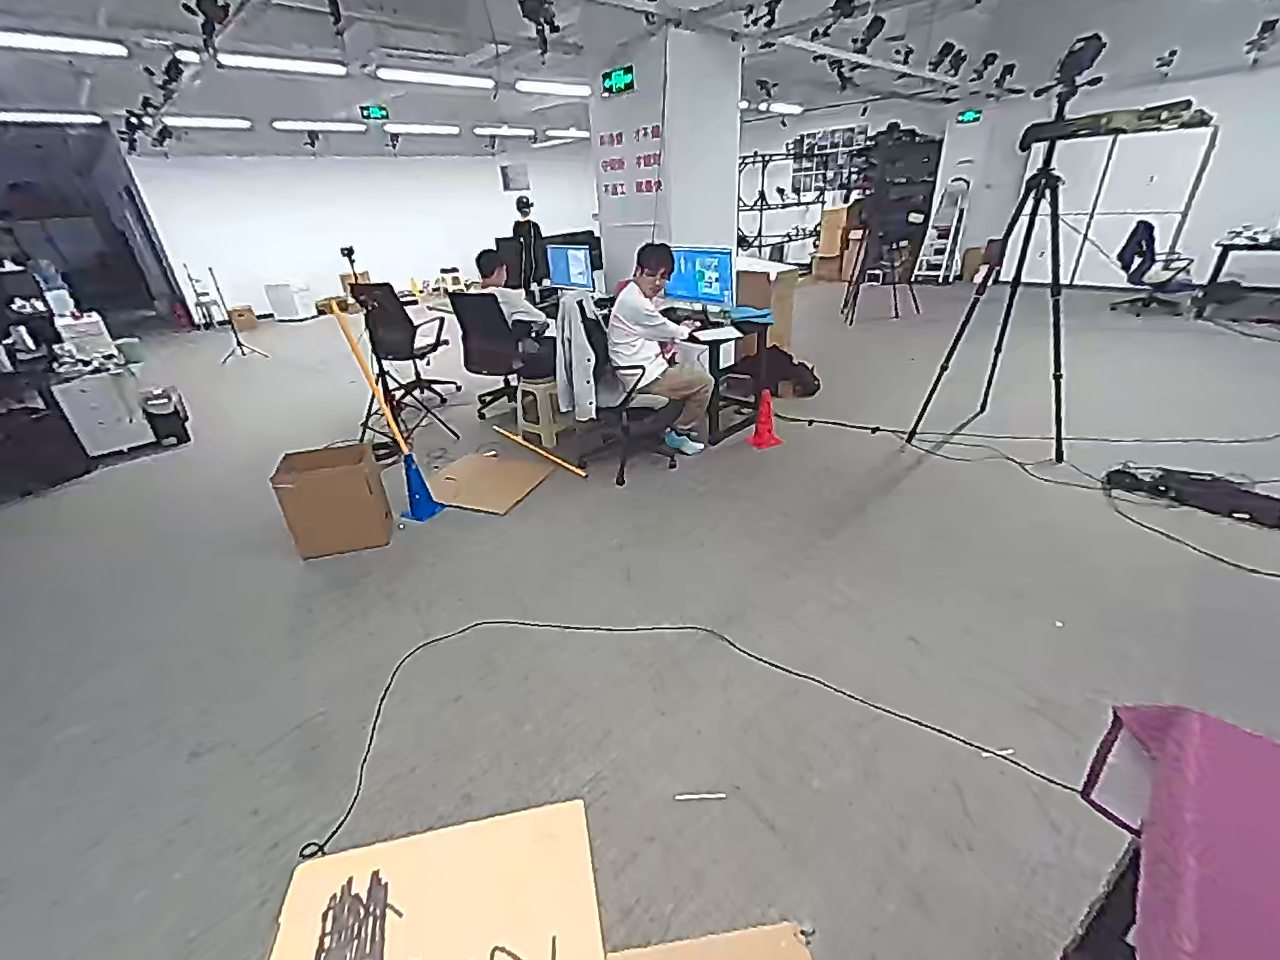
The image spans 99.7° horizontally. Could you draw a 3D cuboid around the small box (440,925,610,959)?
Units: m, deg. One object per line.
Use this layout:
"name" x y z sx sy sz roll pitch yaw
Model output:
"small box" -0.097 0.474 0.391 0.179 0.176 0.168 -7 28 -9
